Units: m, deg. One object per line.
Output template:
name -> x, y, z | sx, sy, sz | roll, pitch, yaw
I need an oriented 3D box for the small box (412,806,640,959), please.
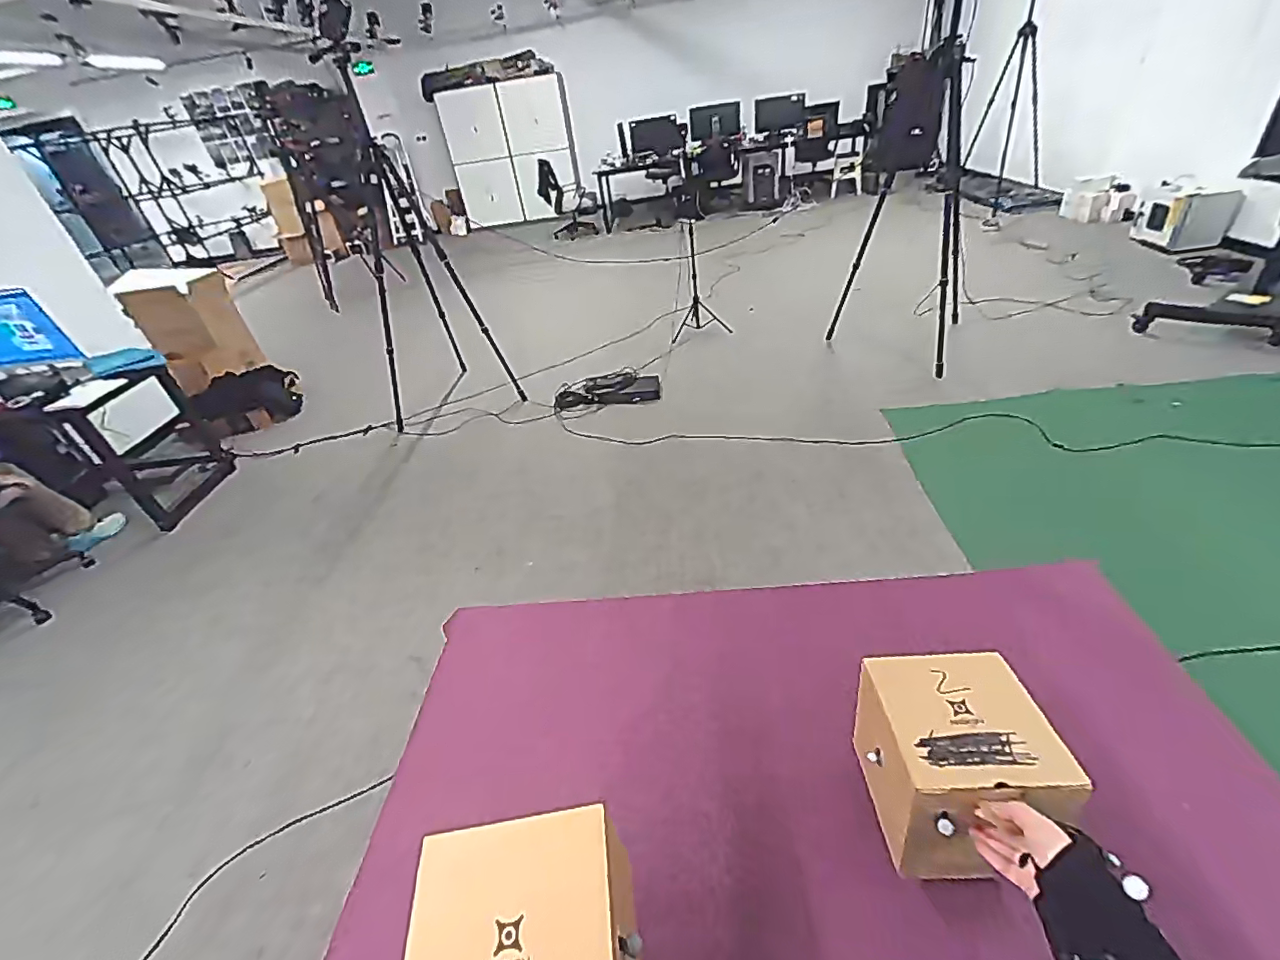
small box -> -0.092, 0.429, 0.483 | 0.168, 0.176, 0.179 | -11, 40, 0
